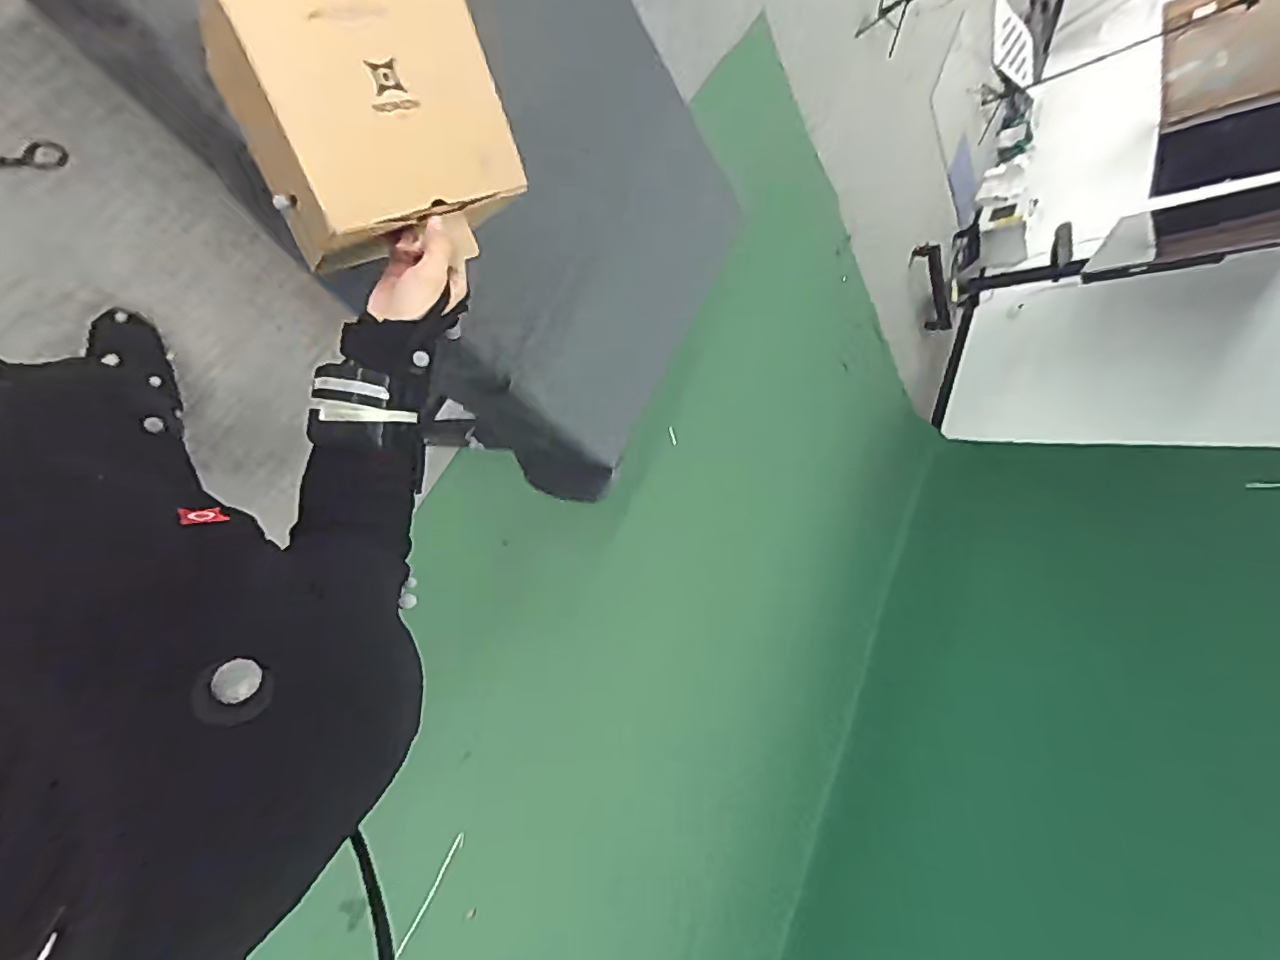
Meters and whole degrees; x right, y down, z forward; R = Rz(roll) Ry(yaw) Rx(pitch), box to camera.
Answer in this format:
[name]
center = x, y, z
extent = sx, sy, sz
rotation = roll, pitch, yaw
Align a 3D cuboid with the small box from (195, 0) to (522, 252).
[small box]
center = -0.232, -0.307, 0.456
extent = 0.168, 0.176, 0.179
rotation = -33, 115, -27
